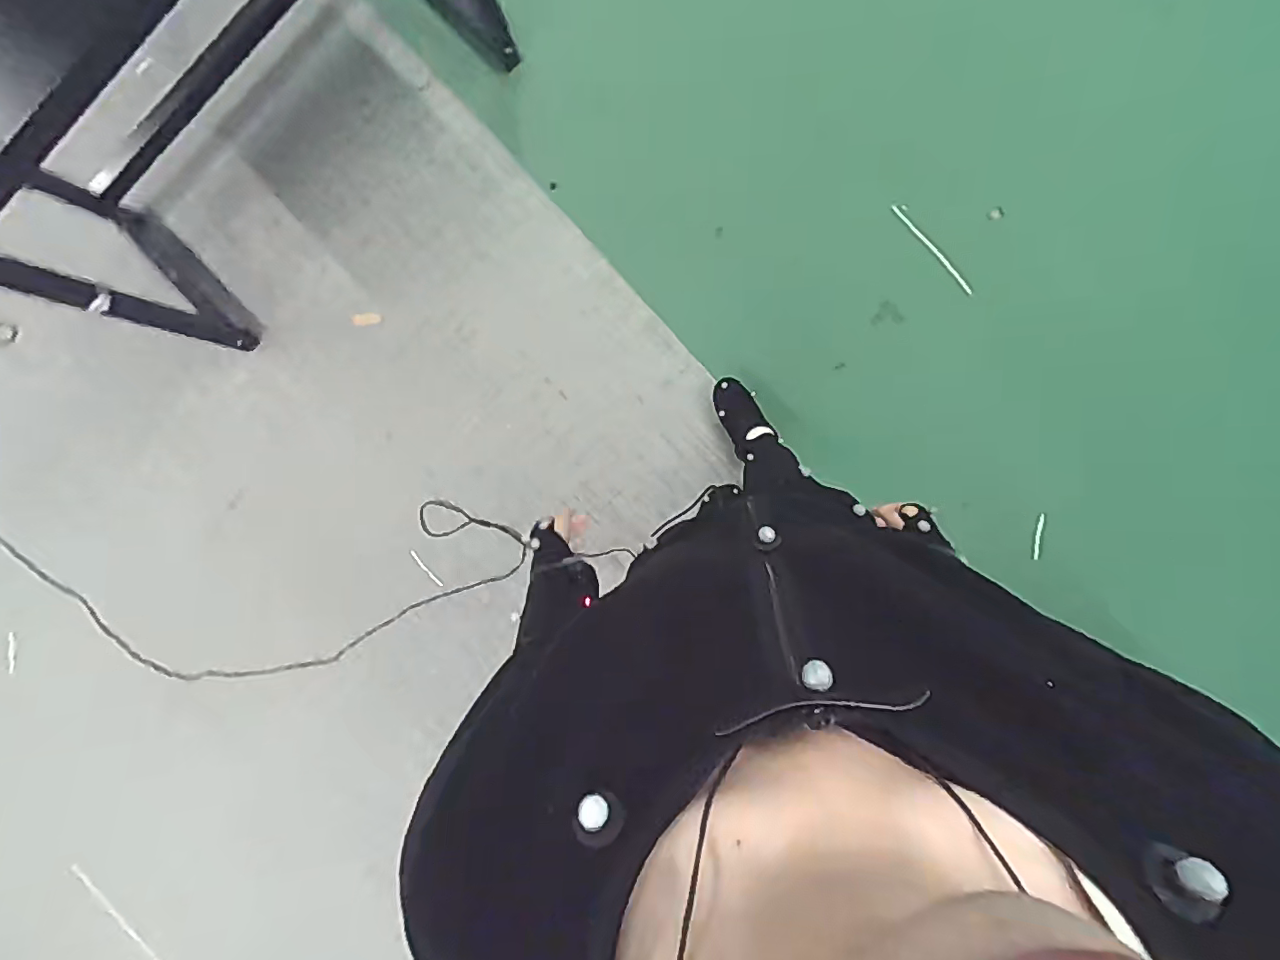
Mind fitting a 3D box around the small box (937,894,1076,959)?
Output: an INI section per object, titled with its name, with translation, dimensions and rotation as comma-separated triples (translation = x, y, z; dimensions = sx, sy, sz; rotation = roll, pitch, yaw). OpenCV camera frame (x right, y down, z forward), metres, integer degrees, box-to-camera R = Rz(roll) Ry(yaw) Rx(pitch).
[small box]
translation = 0.587, 0.770, 0.803
dimensions = 0.168, 0.176, 0.179
rotation = -39, 89, 6
